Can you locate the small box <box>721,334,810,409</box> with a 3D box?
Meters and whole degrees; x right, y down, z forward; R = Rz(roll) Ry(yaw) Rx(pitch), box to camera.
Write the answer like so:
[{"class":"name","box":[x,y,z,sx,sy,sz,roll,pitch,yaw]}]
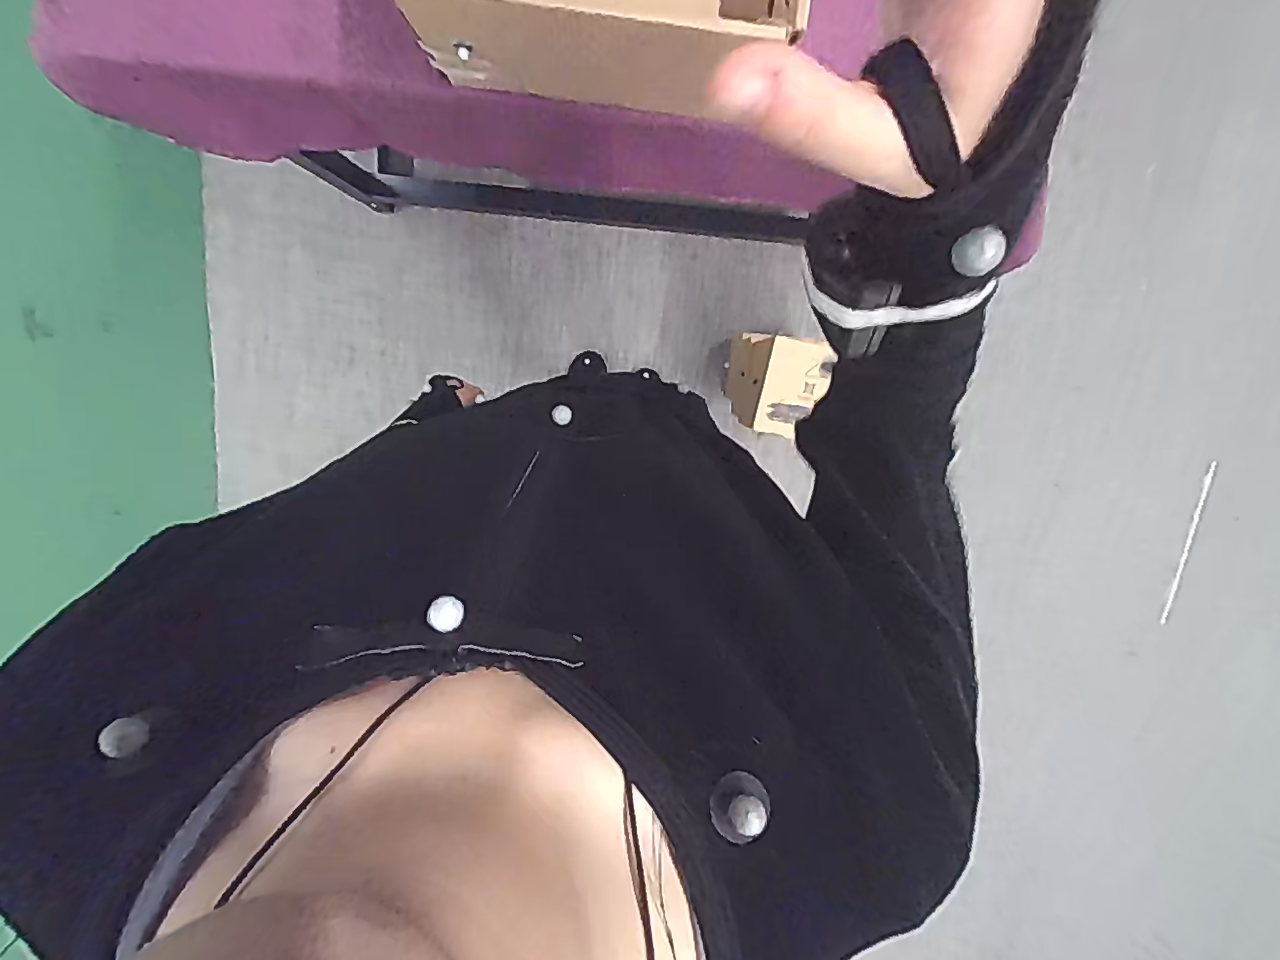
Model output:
[{"class":"small box","box":[0.312,-0.276,1.374,0.179,0.176,0.168,5,101,0]}]
